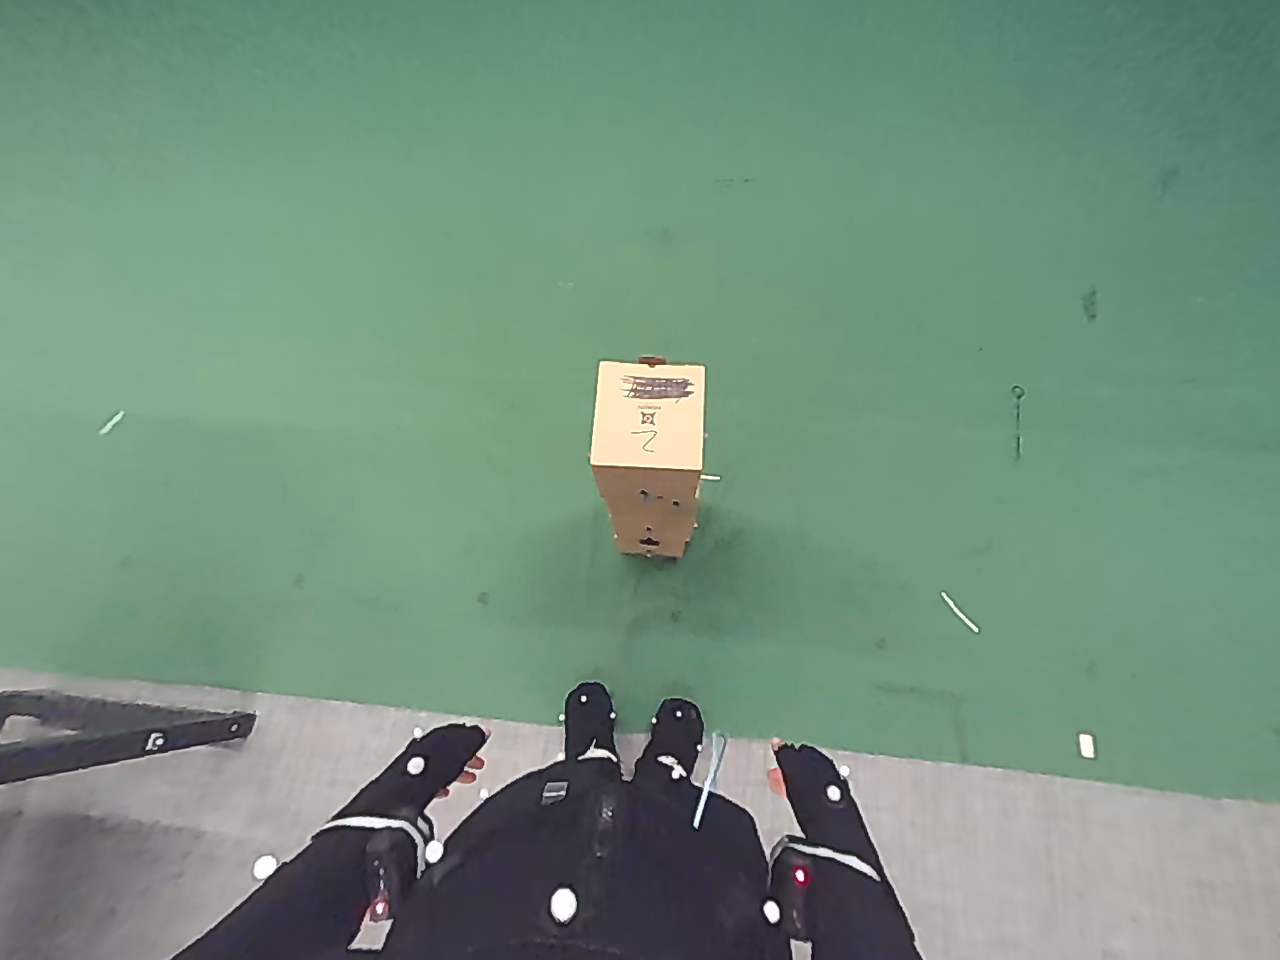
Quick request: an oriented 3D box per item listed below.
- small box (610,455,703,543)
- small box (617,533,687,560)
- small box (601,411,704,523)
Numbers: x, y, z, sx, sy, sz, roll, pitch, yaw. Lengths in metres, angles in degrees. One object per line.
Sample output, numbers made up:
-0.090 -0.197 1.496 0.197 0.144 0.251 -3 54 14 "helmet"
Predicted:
0.038 0.035 1.194 0.179 0.176 0.168 7 70 4 "small box"
0.038 0.092 1.350 0.168 0.176 0.179 4 71 4 "small box"
0.028 -0.019 1.043 0.179 0.176 0.168 4 71 3 "small box"
